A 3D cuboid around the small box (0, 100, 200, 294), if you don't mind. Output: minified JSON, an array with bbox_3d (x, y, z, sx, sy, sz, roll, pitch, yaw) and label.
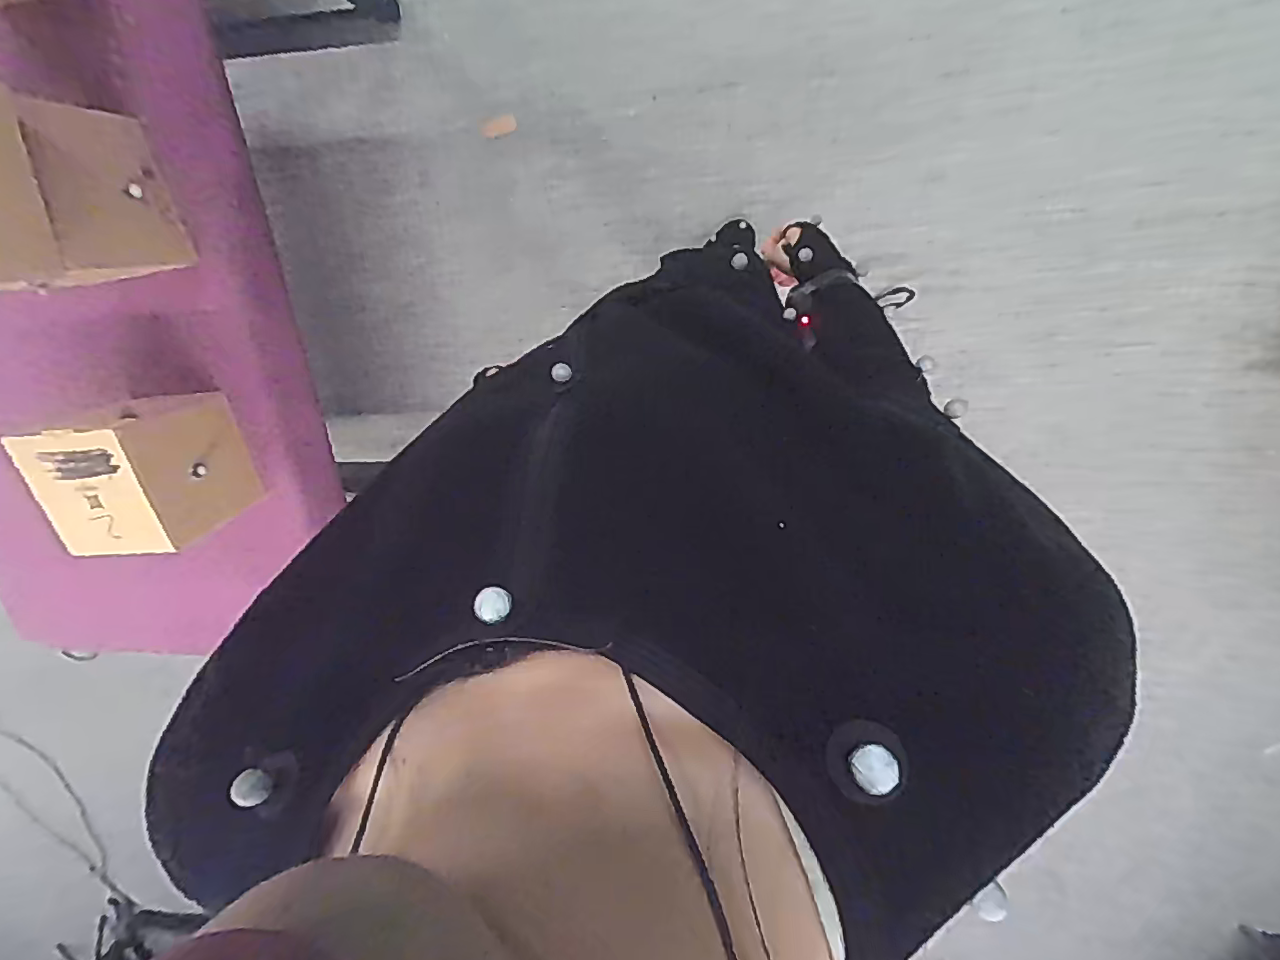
[{"bbox_3d":[-0.683,-0.315,0.630,0.179,0.176,0.168,-6,113,9],"label":"small box"}]

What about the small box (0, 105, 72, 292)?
[{"bbox_3d":[-0.678,-0.263,0.472,0.168,0.176,0.179,8,115,4],"label":"small box"}]
